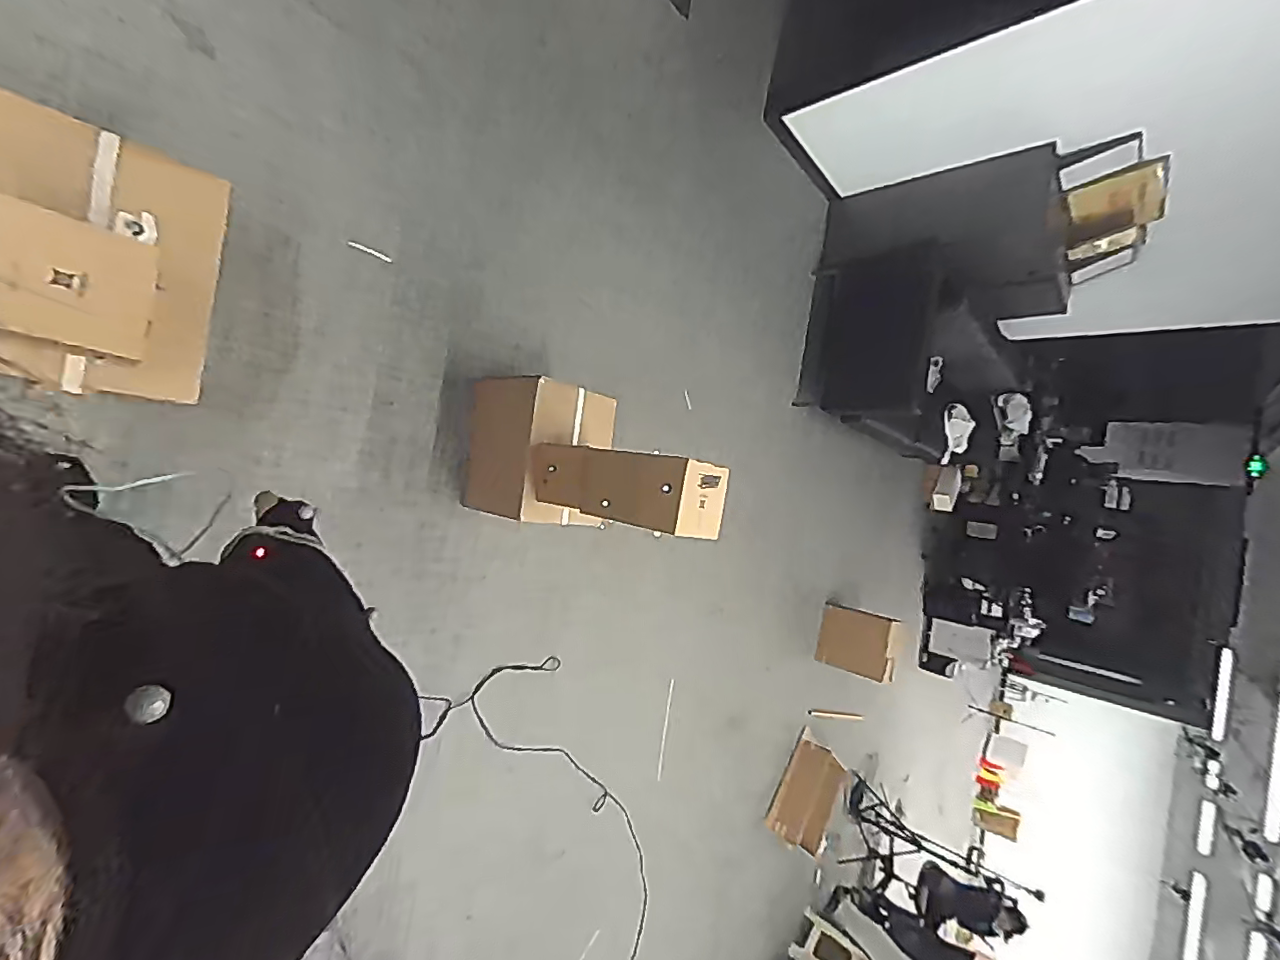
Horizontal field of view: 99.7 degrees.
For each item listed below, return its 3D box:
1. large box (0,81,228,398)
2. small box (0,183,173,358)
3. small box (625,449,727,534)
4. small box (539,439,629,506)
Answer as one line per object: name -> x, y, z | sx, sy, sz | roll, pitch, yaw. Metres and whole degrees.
large box -> -0.962, -0.369, 0.943 | 0.320, 0.320, 0.408 | 9, 89, -48
small box -> -0.801, -0.278, 0.767 | 0.179, 0.176, 0.168 | 12, 86, -46
small box -> 0.084, 0.025, 1.302 | 0.168, 0.176, 0.179 | 11, 90, -47
small box -> -0.158, -0.023, 1.520 | 0.179, 0.176, 0.168 | 6, 92, -47
